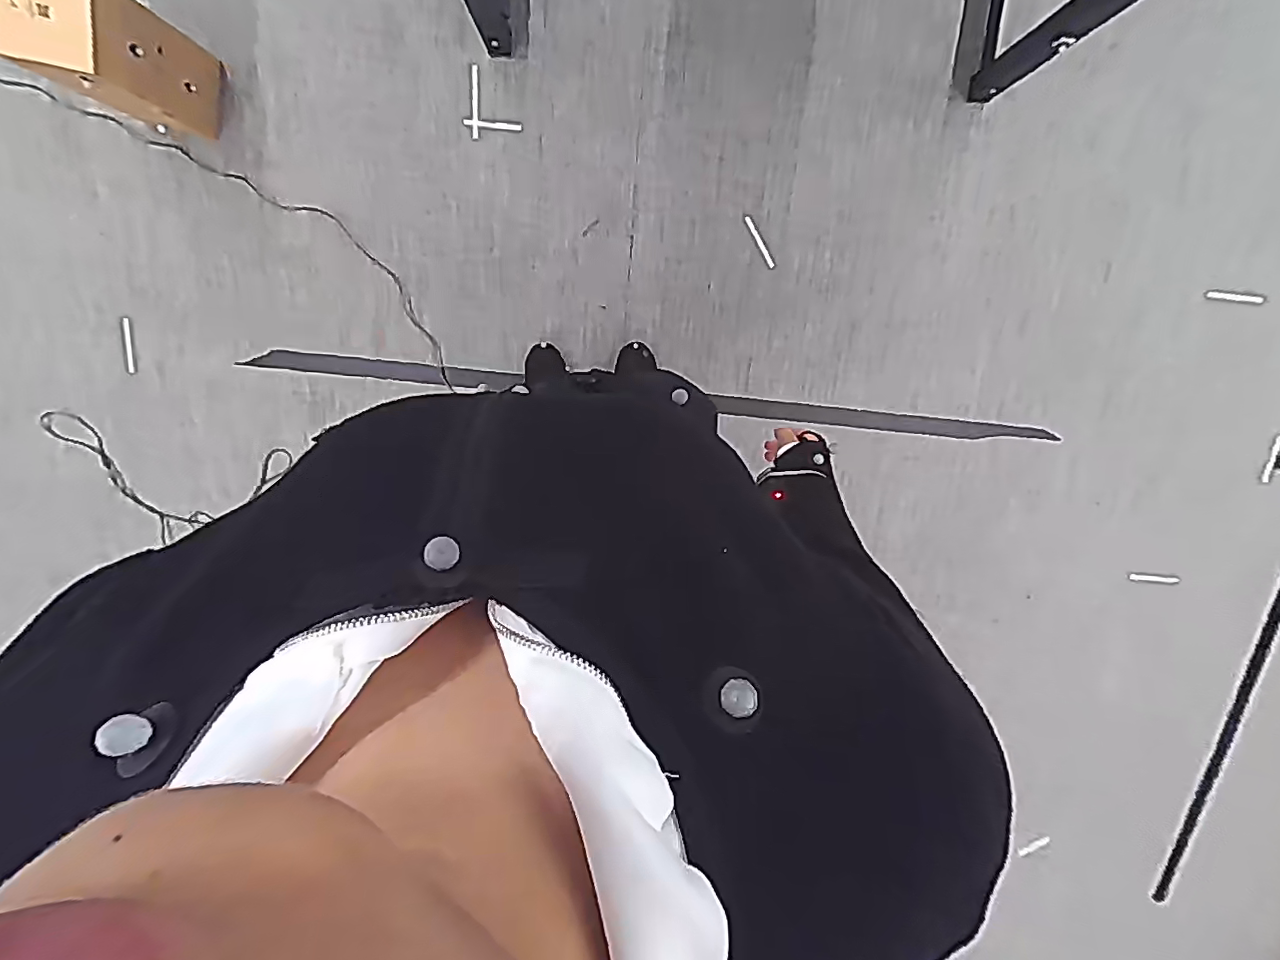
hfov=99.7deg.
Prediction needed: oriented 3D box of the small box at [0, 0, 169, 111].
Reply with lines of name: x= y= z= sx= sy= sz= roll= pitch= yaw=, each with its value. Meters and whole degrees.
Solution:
small box: x=-1.037 y=-0.830 z=1.016 sx=0.179 sy=0.176 sz=0.168 roll=10 pitch=102 yaw=-4

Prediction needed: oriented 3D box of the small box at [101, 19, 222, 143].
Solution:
small box: x=-1.052 y=-0.875 z=1.174 sx=0.168 sy=0.176 sz=0.179 roll=13 pitch=104 yaw=-5
